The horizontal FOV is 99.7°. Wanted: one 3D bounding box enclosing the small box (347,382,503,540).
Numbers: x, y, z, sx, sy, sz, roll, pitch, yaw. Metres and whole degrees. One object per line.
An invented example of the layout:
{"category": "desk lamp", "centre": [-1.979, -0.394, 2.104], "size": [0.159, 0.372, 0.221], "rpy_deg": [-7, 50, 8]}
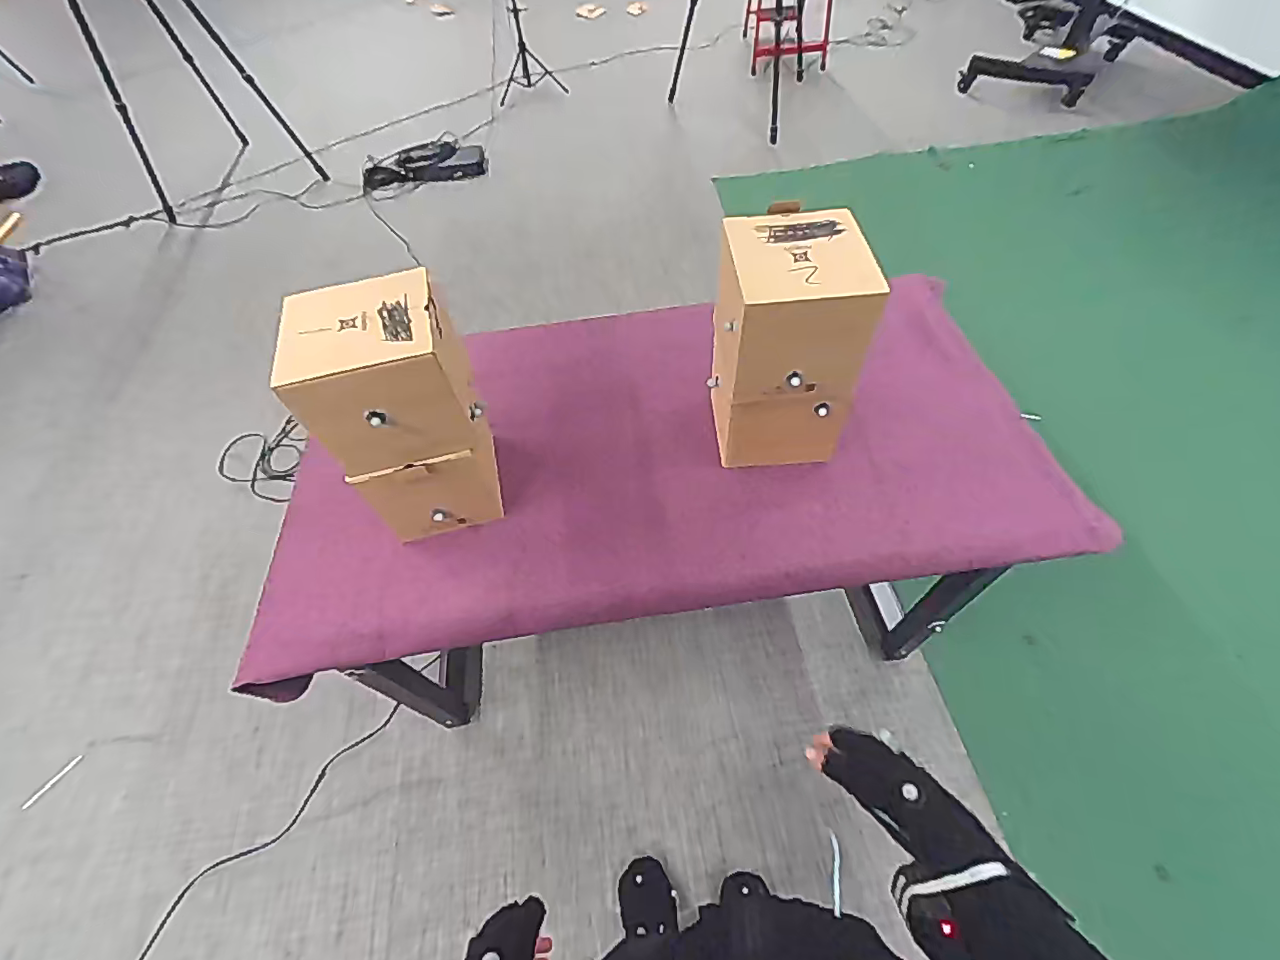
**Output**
{"category": "small box", "centre": [-0.318, -0.036, 0.825], "size": [0.168, 0.176, 0.179], "rpy_deg": [-14, 56, -5]}

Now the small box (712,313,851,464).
{"category": "small box", "centre": [0.208, -0.139, 0.855], "size": [0.179, 0.176, 0.168], "rpy_deg": [-4, 55, 2]}

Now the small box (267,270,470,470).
{"category": "small box", "centre": [-0.323, -0.135, 0.690], "size": [0.179, 0.176, 0.168], "rpy_deg": [-12, 54, -4]}
